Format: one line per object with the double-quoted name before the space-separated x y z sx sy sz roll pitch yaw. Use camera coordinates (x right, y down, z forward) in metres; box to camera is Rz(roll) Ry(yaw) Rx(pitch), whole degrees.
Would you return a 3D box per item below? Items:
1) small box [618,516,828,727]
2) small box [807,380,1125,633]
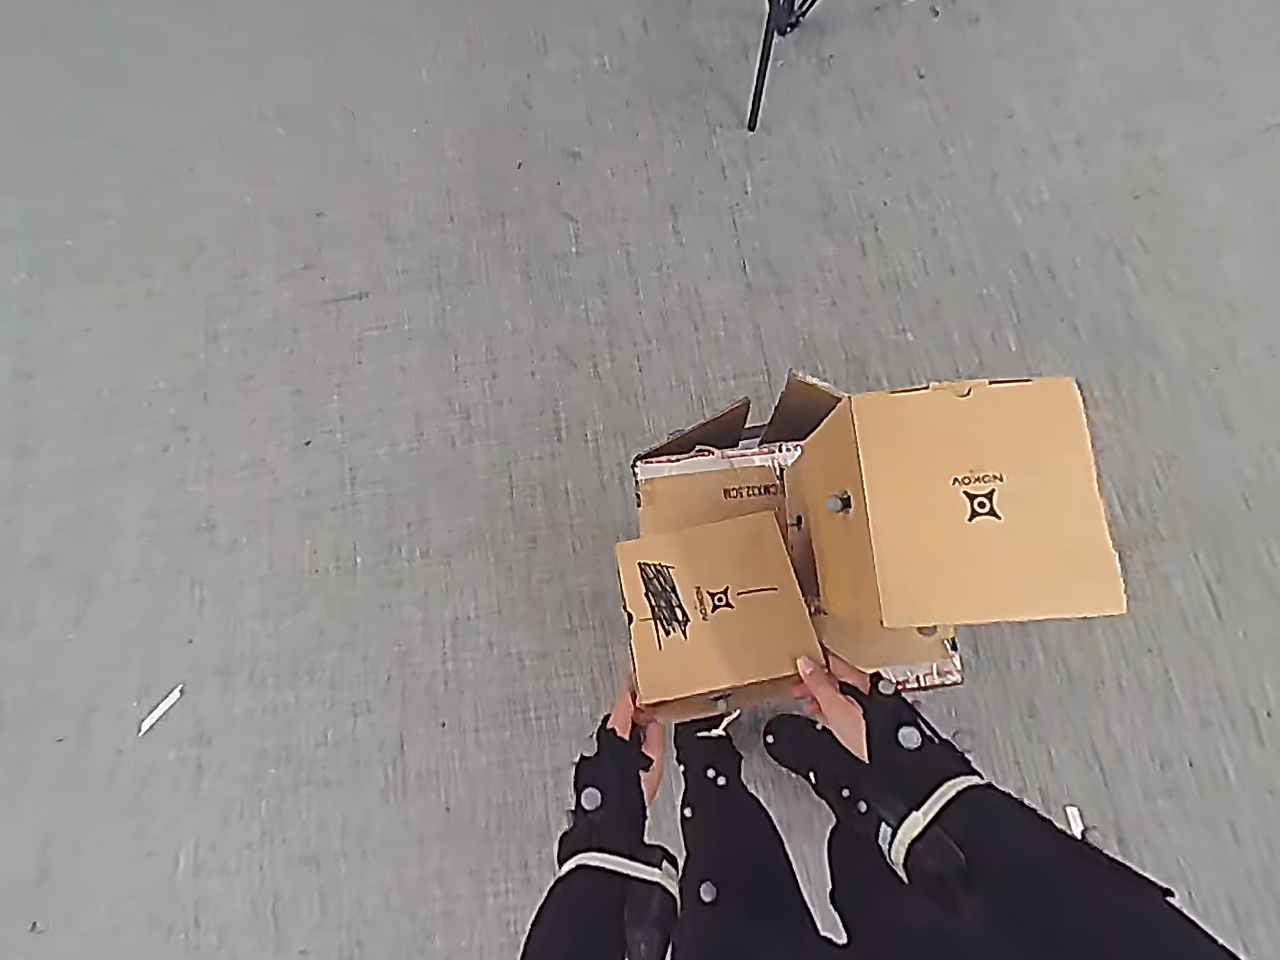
"small box" 0.085 0.164 0.598 0.179 0.176 0.168 -13 59 1
"small box" 0.252 0.031 0.469 0.168 0.176 0.179 -5 79 4
